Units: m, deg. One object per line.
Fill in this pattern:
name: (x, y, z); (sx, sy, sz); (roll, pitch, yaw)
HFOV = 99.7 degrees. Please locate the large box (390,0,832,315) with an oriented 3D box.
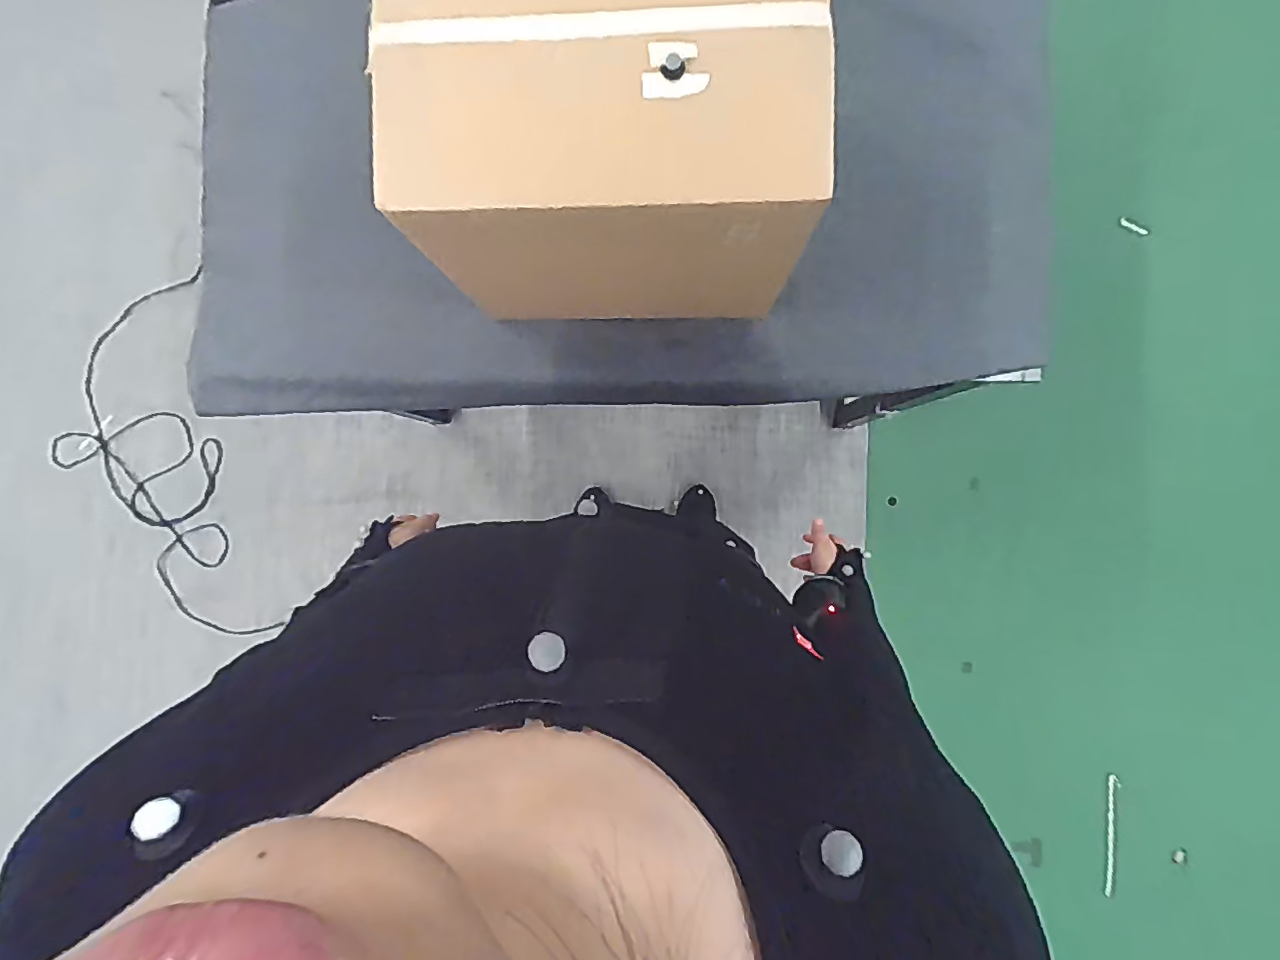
large box: (-0.027, -0.400, 0.638); (0.408, 0.320, 0.320); (-1, 90, 2)
